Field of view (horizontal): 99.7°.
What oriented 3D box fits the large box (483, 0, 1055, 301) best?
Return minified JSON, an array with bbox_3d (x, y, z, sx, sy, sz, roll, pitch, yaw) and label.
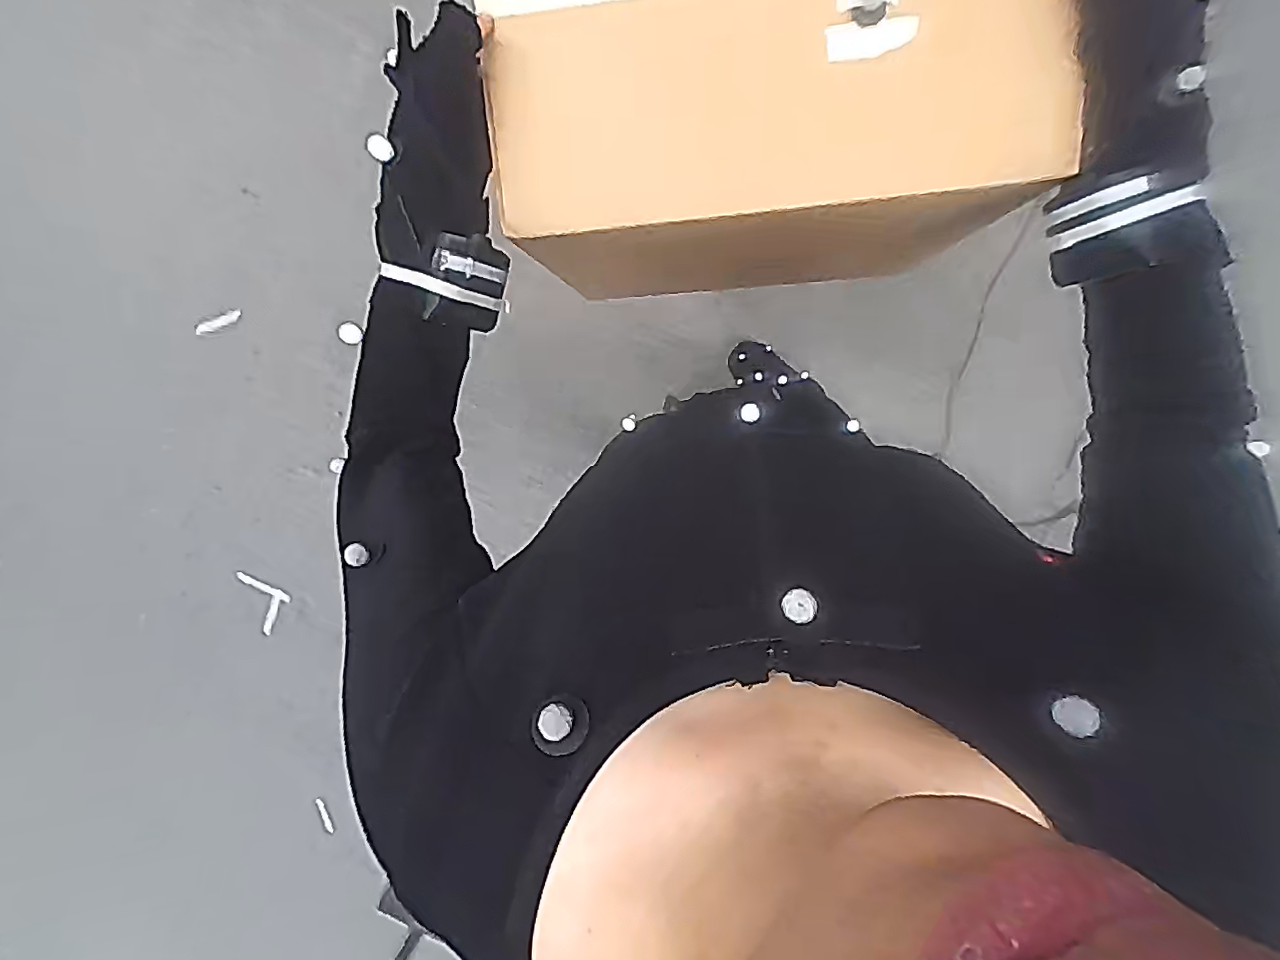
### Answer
[{"bbox_3d":[0.093,-0.381,0.527,0.408,0.320,0.320,-4,99,7],"label":"large box"}]
